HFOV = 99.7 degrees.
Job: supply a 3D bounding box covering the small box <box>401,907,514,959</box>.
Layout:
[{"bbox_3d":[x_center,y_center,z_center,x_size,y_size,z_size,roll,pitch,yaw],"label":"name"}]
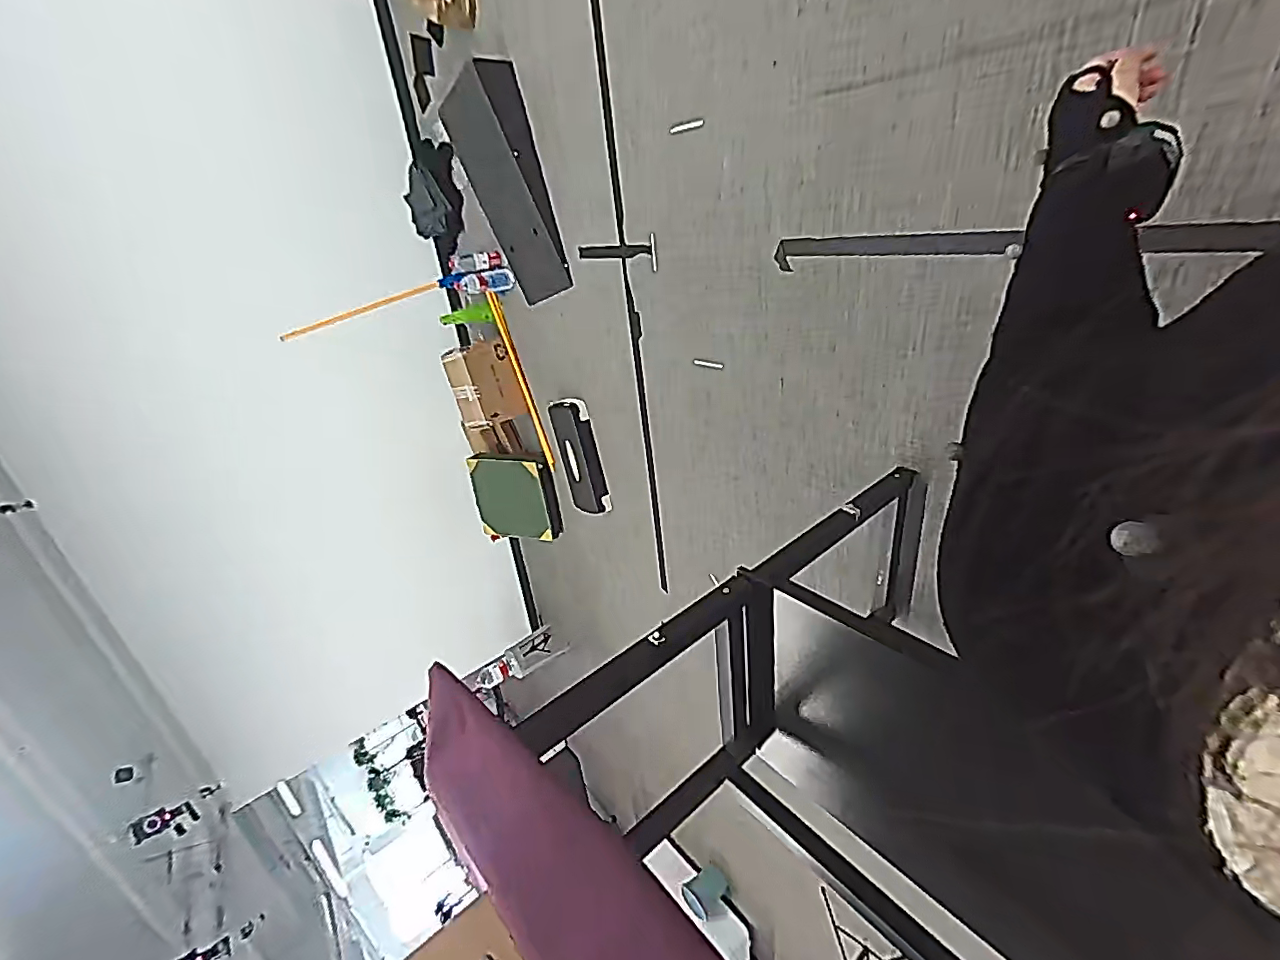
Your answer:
[{"bbox_3d":[-0.237,0.731,0.727,0.179,0.176,0.168,25,131,46],"label":"small box"}]
